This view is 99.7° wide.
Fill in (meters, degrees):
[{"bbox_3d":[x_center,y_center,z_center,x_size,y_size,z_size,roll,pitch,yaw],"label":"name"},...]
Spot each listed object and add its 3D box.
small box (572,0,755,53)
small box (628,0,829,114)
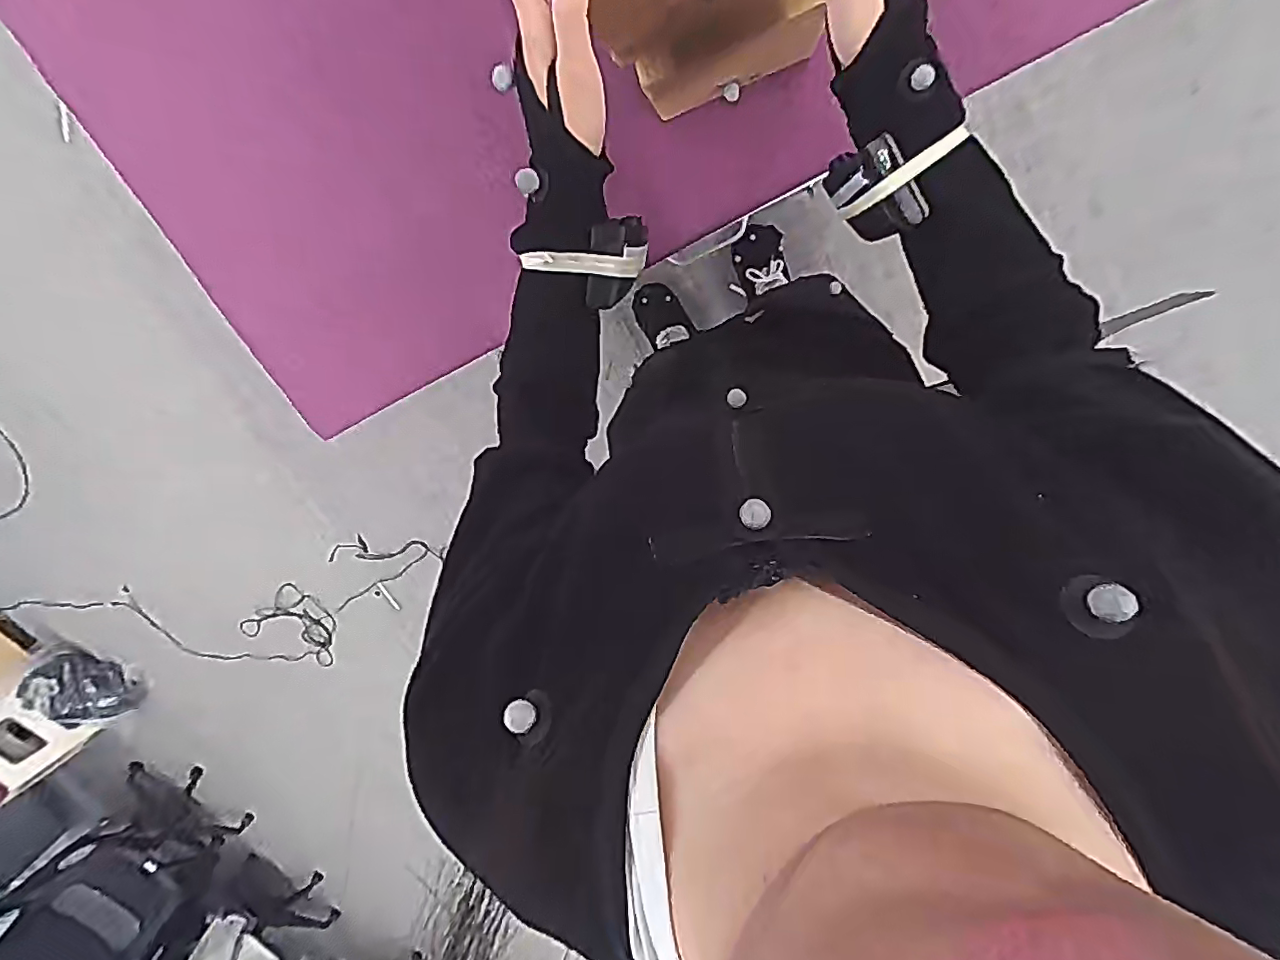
[{"bbox_3d":[0.025,-0.407,0.332,0.179,0.176,0.168,-12,113,16],"label":"small box"},{"bbox_3d":[0.058,-0.465,0.481,0.168,0.176,0.179,-14,113,16],"label":"small box"}]
